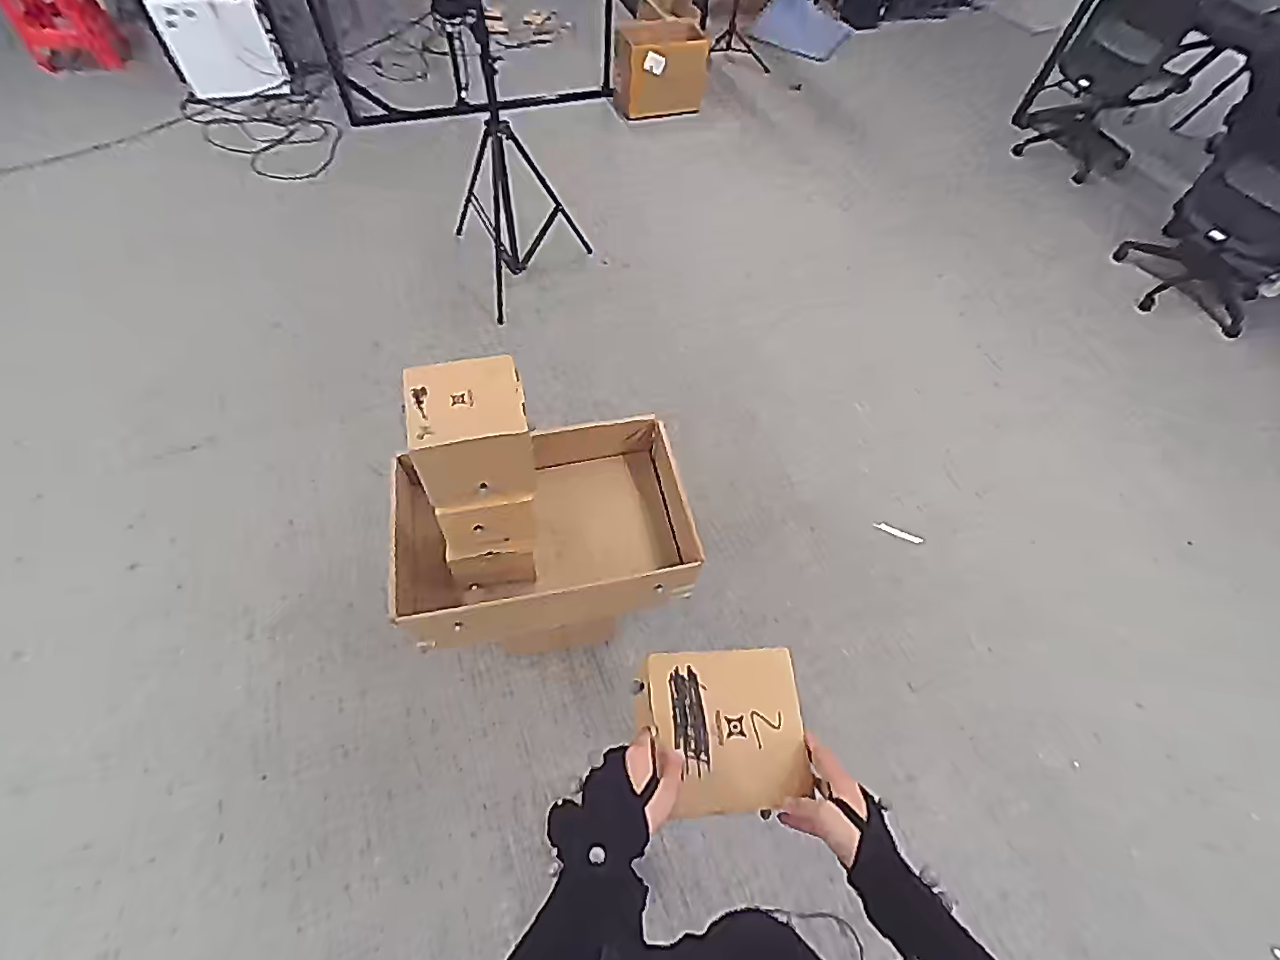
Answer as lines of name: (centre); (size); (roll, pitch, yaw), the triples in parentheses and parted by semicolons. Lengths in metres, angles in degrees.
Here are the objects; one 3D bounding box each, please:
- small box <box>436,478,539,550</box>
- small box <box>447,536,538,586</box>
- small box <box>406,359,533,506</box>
small box: (-0.289, 0.020, 1.032); (0.168, 0.176, 0.179); (-9, 58, -12)
small box: (-0.311, 0.117, 1.161); (0.168, 0.176, 0.179); (-6, 58, -10)
small box: (-0.276, -0.076, 0.900); (0.179, 0.176, 0.168); (-10, 58, -13)
